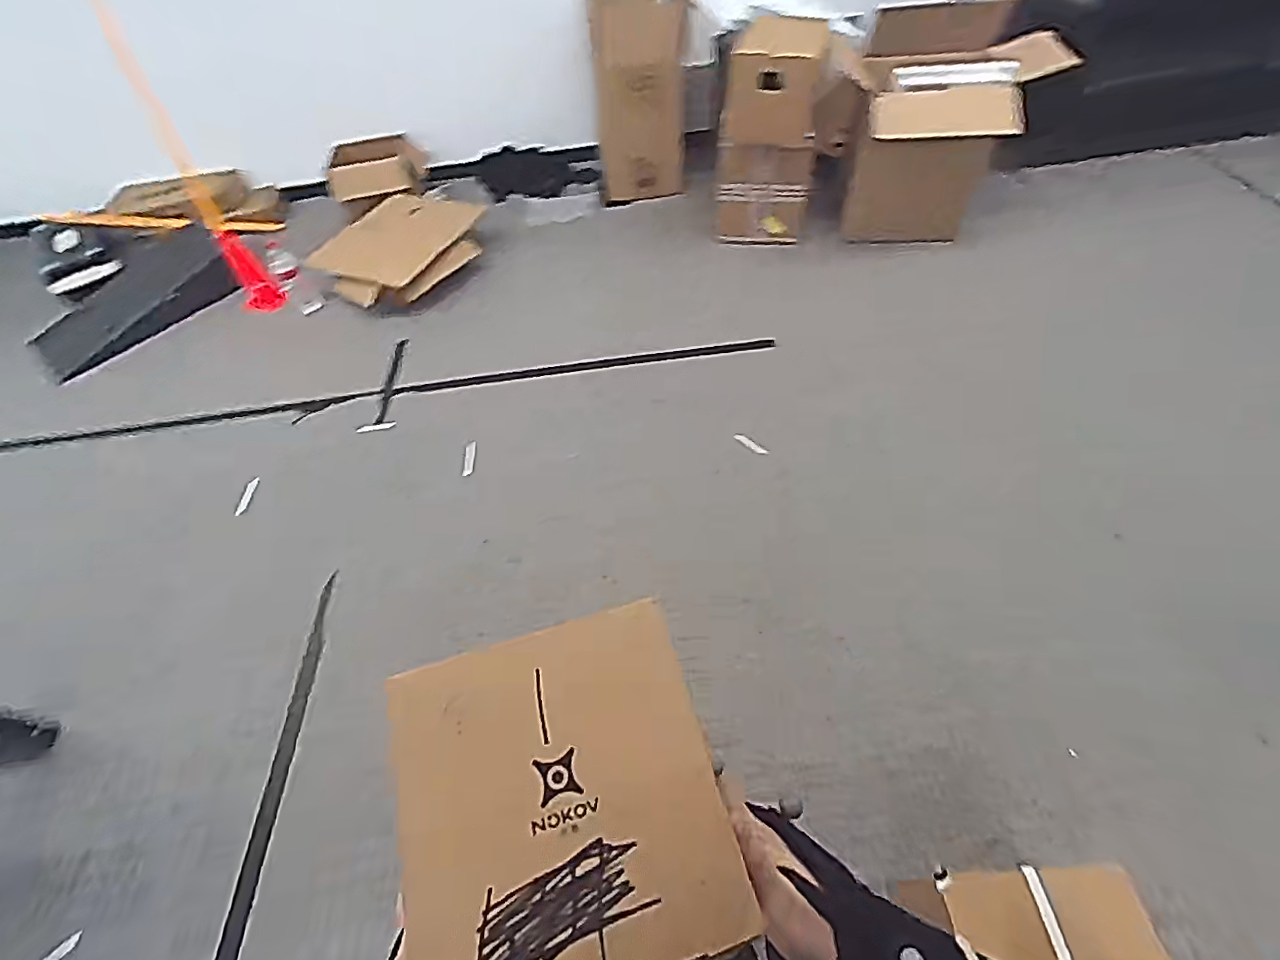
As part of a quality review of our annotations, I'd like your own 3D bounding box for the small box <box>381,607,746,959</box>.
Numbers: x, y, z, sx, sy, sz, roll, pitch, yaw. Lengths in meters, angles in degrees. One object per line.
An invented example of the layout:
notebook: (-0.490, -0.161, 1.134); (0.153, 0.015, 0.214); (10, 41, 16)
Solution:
small box: (-0.050, 0.211, 0.358); (0.168, 0.176, 0.179); (-15, 60, -11)
